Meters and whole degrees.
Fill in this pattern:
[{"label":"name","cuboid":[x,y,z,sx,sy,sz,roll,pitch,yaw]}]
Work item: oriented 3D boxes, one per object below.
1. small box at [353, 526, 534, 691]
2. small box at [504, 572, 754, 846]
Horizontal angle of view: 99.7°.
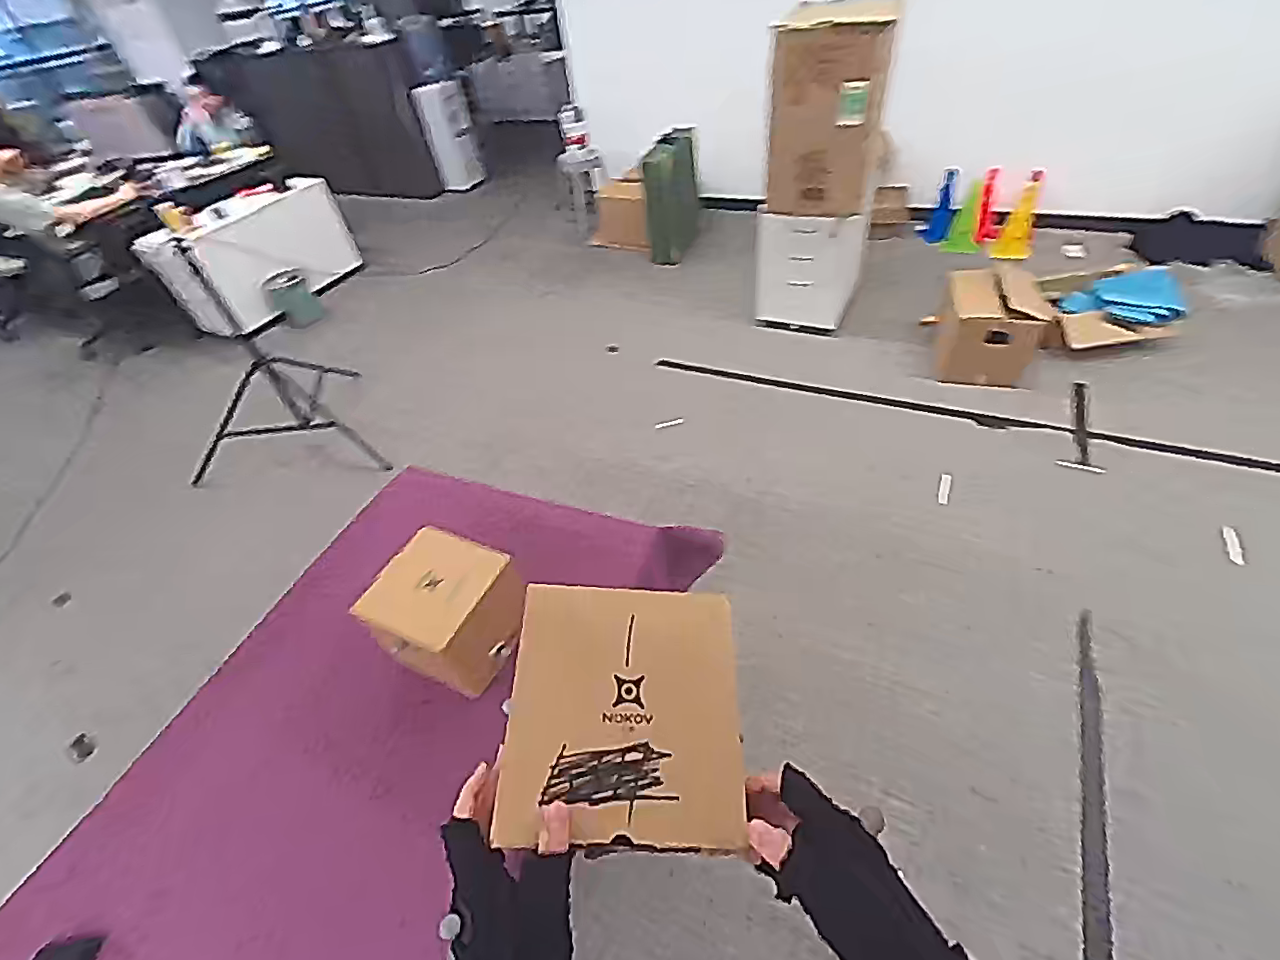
[{"label":"small box","cuboid":[-0.296,0.205,0.851,0.179,0.176,0.168,15,51,21]},{"label":"small box","cuboid":[-0.007,0.199,0.457,0.168,0.176,0.179,6,55,-3]}]
